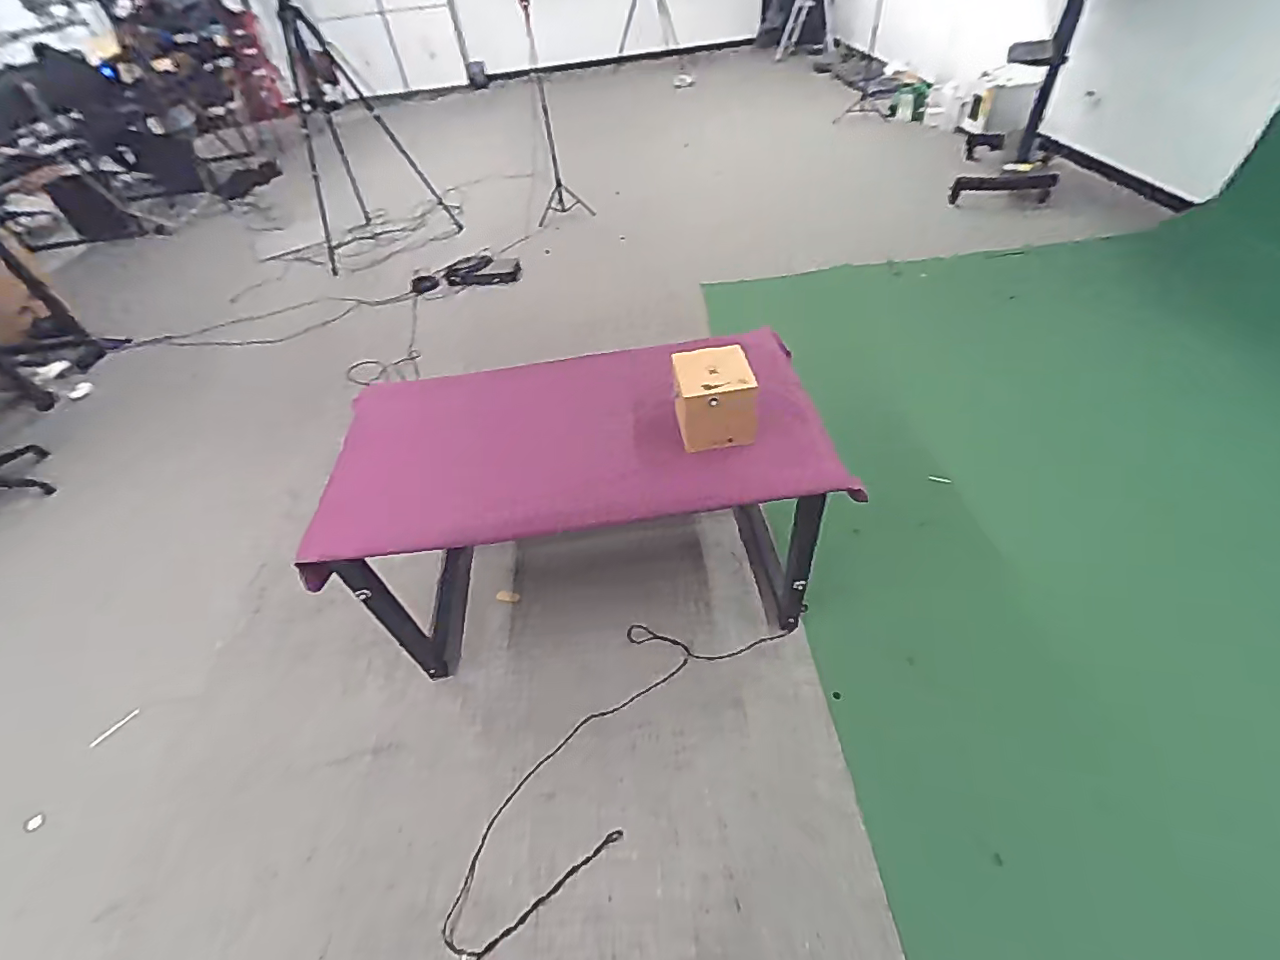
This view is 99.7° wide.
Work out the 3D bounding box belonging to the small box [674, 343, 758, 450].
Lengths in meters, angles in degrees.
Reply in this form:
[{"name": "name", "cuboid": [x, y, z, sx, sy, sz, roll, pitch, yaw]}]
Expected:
[{"name": "small box", "cuboid": [0.175, -0.196, 1.276, 0.168, 0.176, 0.179, -9, 45, 1]}]
